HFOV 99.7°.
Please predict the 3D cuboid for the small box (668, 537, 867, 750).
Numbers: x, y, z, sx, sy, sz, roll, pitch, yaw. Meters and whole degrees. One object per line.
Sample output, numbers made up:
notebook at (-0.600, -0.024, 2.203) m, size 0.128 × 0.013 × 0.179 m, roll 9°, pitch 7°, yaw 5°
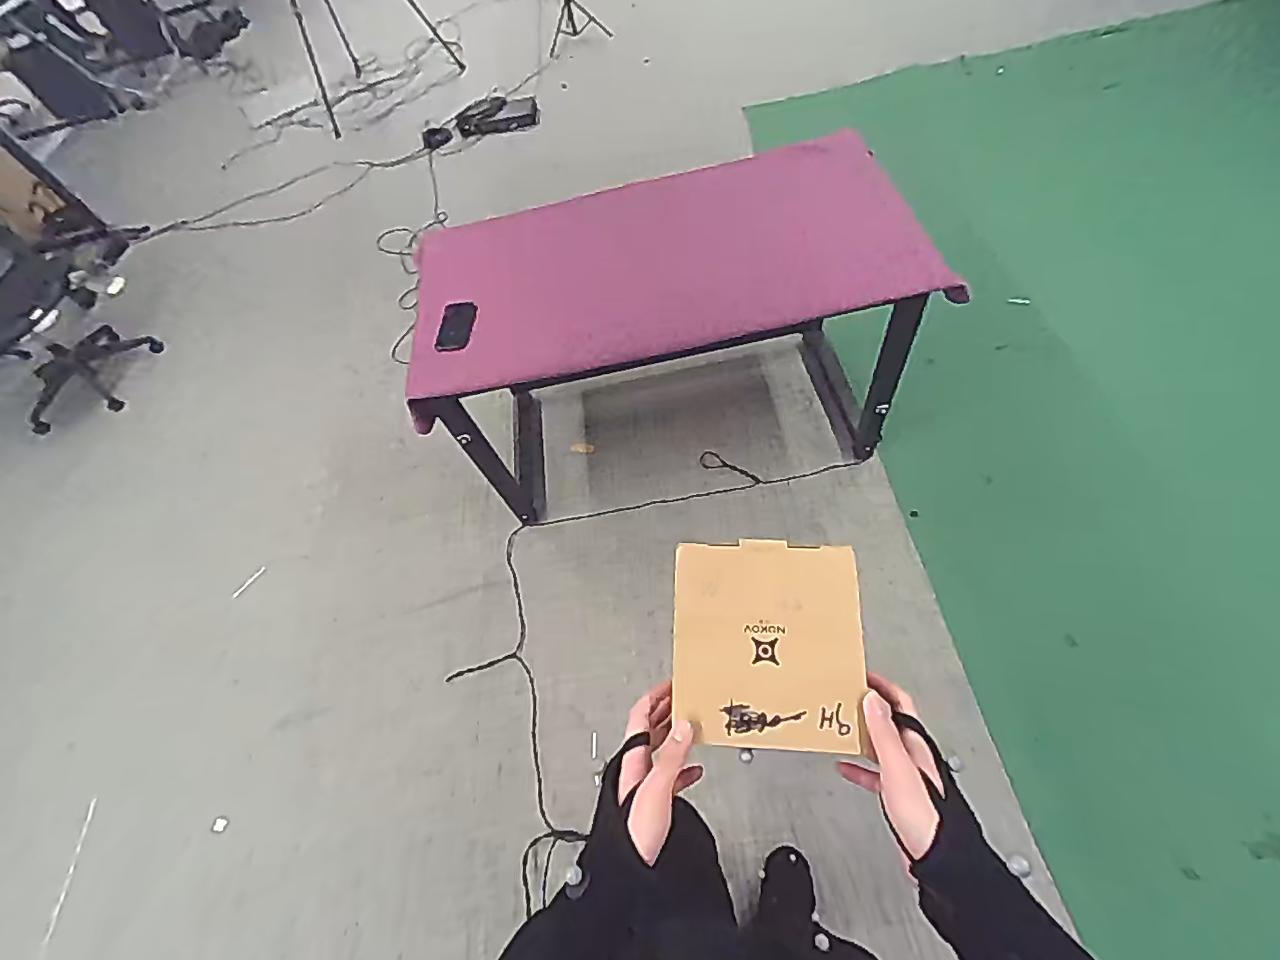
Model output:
small box at (0.119, 0.164, 0.550) m, size 0.168 × 0.176 × 0.179 m, roll 0°, pitch 70°, yaw 9°
